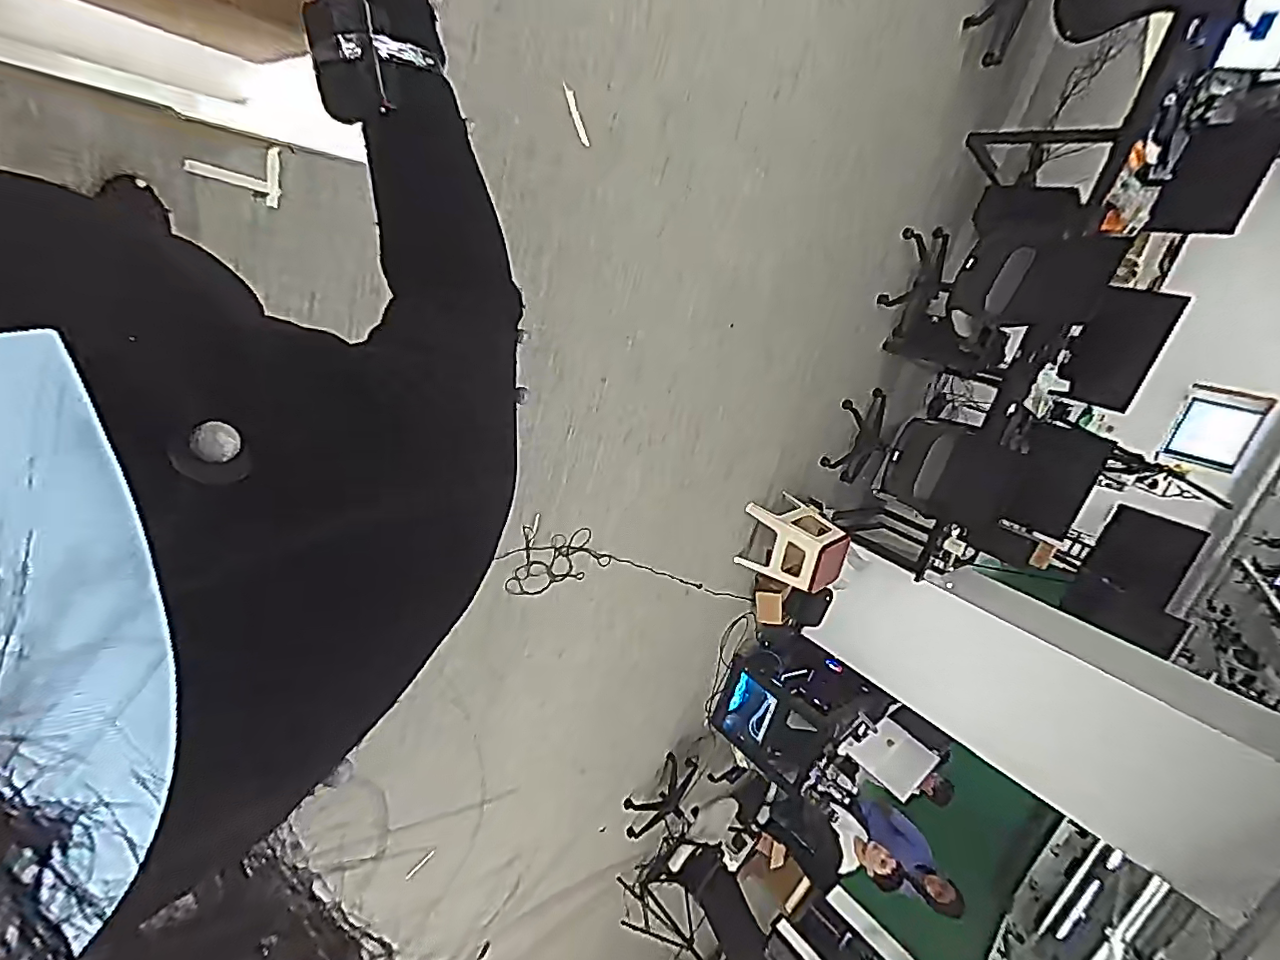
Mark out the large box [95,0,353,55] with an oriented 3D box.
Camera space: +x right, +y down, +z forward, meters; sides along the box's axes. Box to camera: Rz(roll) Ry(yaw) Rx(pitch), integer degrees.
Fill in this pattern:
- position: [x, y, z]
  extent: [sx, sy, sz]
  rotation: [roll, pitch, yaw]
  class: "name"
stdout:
- position: [-0.430, -0.518, 0.323]
  extent: [0.408, 0.320, 0.320]
  rotation: [-8, 120, -42]
  class: "large box"
